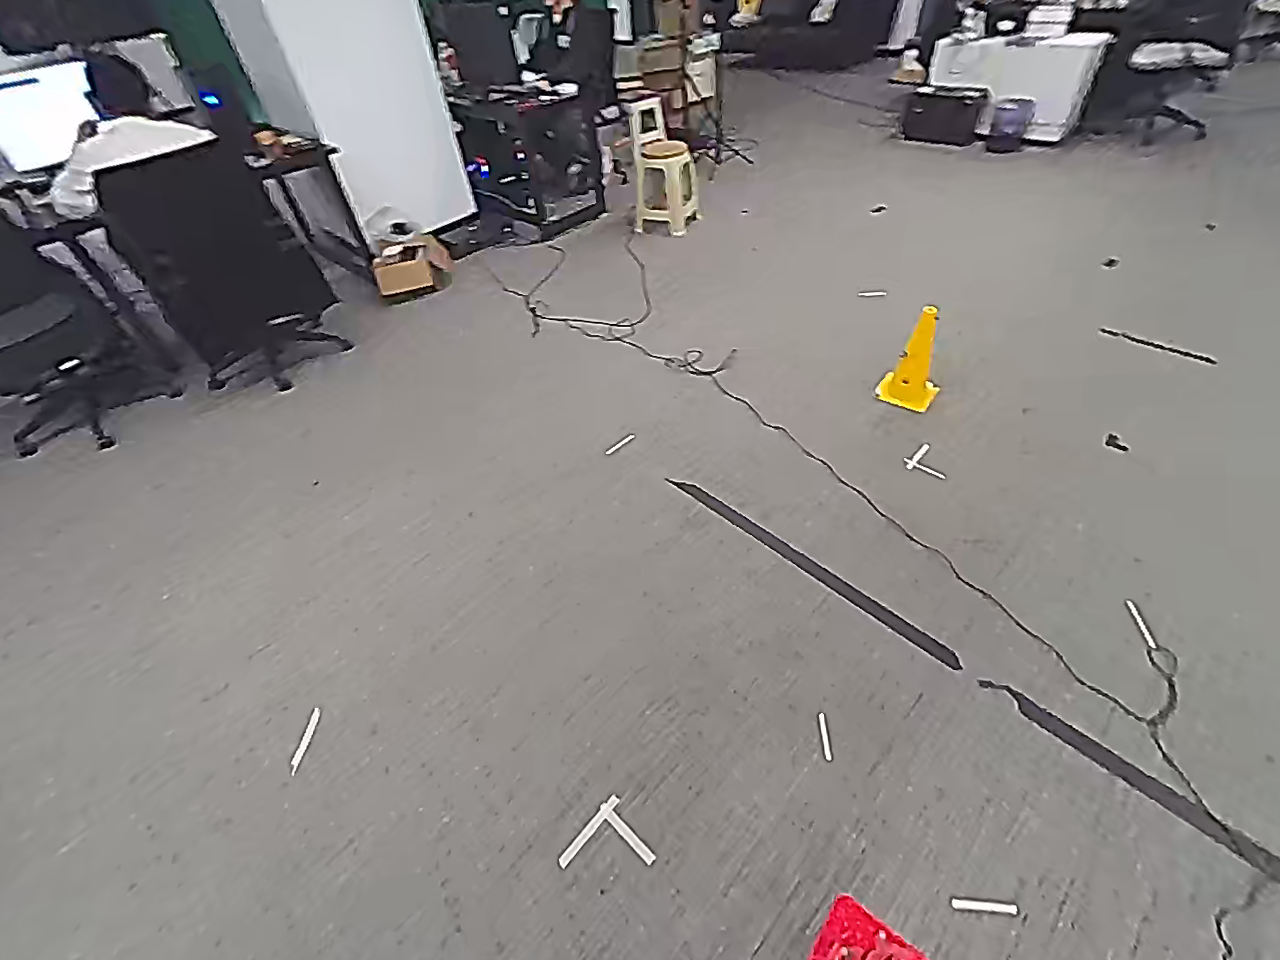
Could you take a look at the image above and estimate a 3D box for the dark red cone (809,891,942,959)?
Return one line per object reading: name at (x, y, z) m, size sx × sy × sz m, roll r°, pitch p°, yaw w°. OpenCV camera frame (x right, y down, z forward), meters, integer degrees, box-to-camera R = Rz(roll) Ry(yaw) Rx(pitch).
dark red cone at (0.396, 0.768, 0.839) m, size 0.202 × 0.394 × 0.201 m, roll 26°, pitch 53°, yaw 29°
